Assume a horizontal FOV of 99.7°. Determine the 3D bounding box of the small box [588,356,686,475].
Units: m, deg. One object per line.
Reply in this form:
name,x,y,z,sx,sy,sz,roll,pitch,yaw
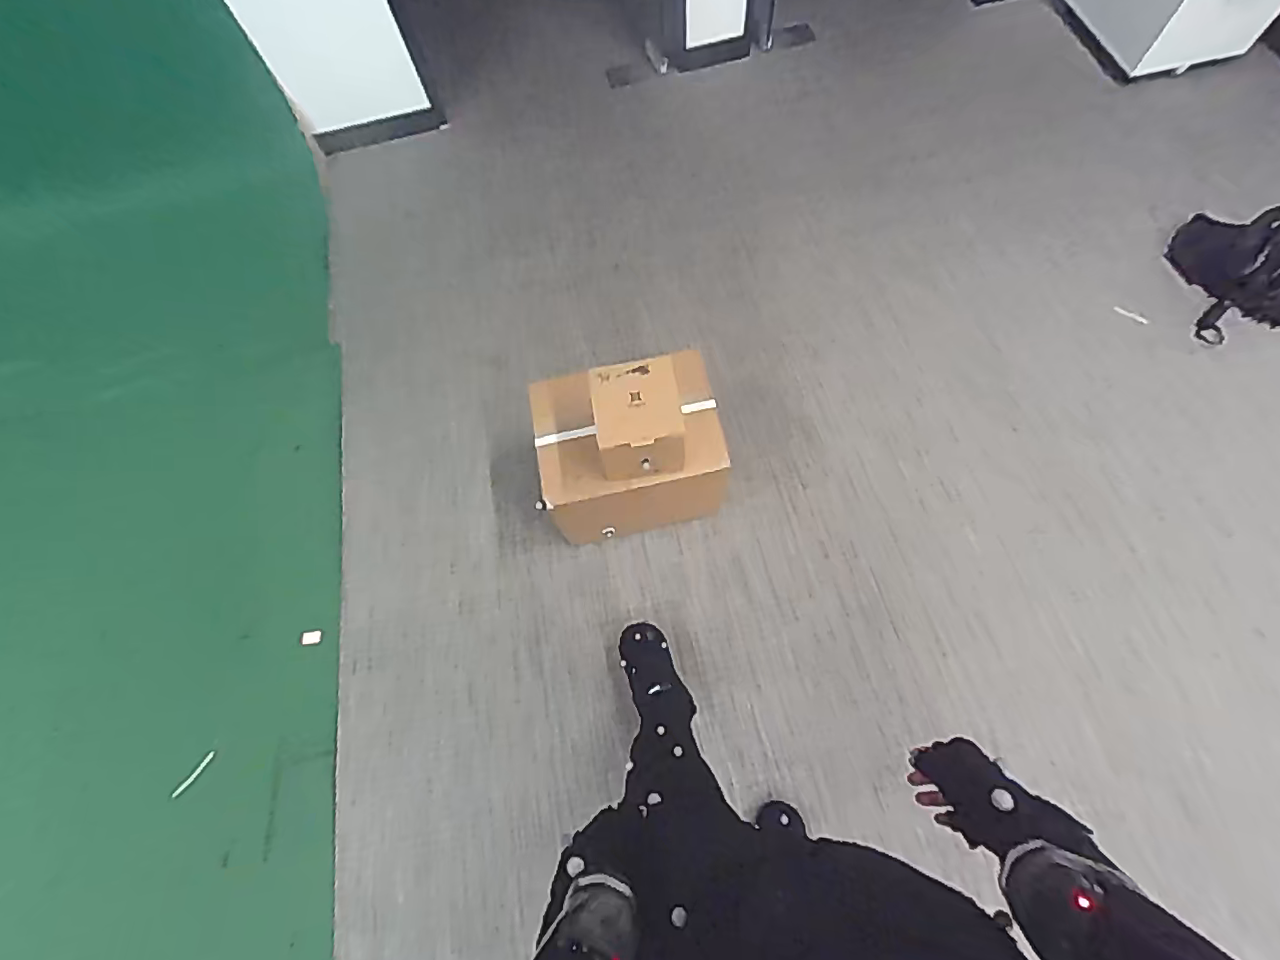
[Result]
small box,-0.001,-0.119,1.090,0.168,0.176,0.179,-10,69,2
